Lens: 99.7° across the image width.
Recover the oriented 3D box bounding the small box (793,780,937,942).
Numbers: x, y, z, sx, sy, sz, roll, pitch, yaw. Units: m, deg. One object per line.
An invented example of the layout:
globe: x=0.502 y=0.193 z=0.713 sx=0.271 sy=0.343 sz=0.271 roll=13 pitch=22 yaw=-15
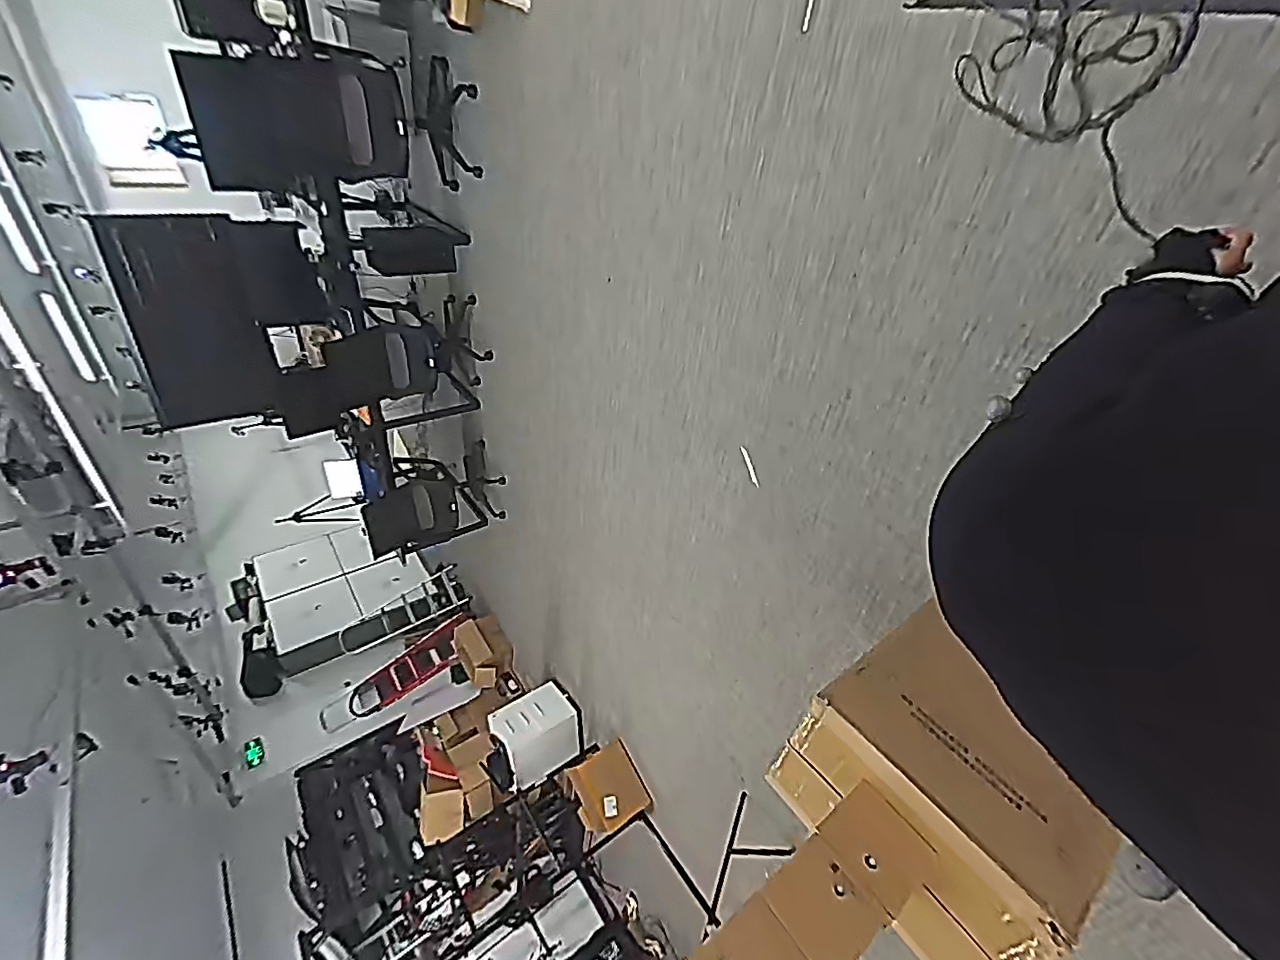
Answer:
small box: x=0.442 y=0.743 z=1.066 sx=0.179 sy=0.176 sz=0.168 roll=43 pitch=138 yaw=37

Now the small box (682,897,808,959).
small box: x=0.178 y=0.839 z=0.894 sx=0.179 sy=0.176 sz=0.168 roll=42 pitch=138 yaw=37
